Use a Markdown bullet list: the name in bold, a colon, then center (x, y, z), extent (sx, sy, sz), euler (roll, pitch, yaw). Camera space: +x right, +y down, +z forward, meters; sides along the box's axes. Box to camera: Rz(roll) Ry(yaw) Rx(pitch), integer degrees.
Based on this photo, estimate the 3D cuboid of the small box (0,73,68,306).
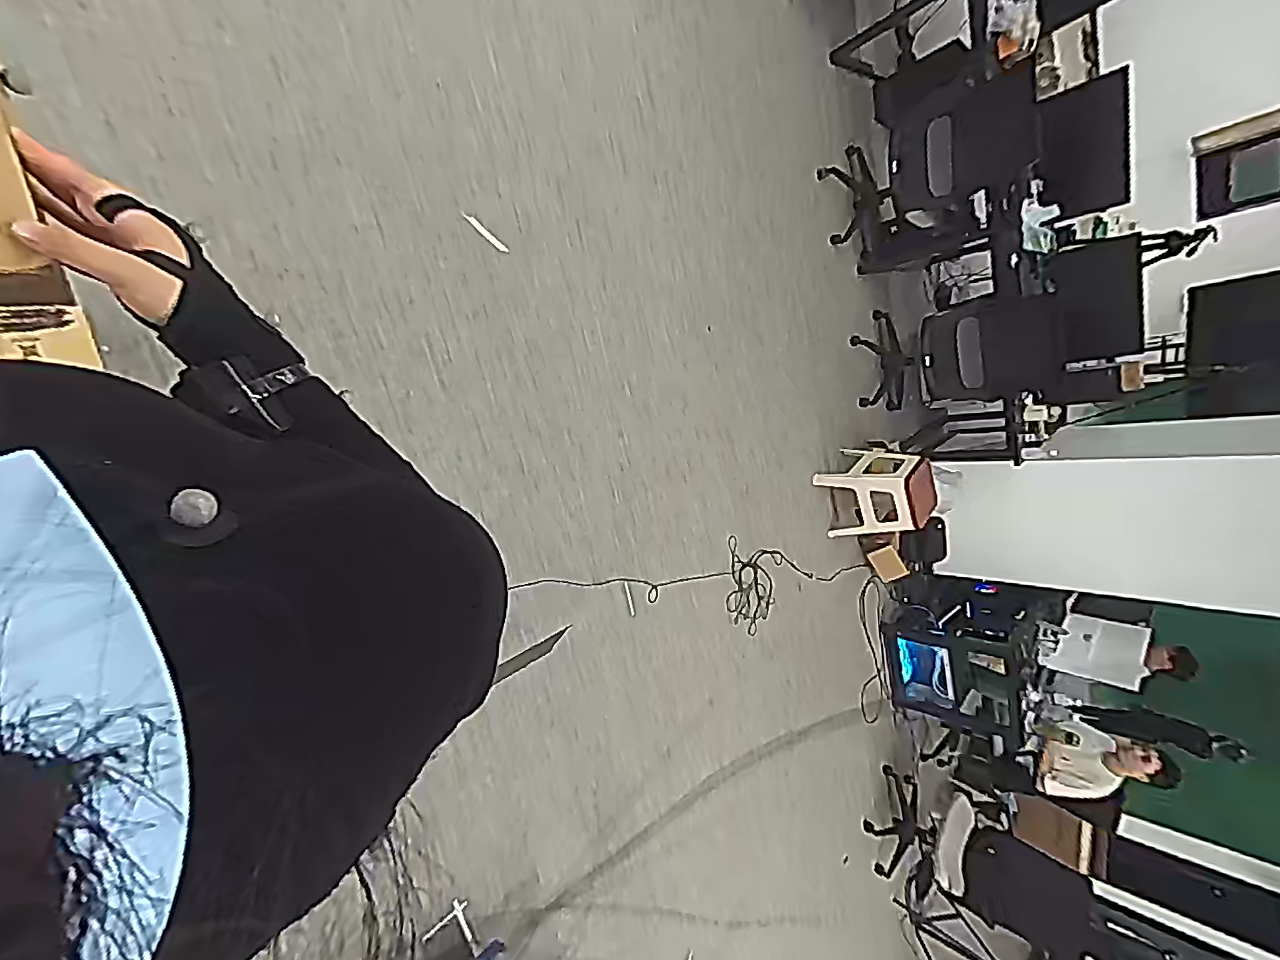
- **small box**: center (-0.501, -0.211, 0.336), extent (0.168, 0.176, 0.179), euler (-17, 107, -40)
